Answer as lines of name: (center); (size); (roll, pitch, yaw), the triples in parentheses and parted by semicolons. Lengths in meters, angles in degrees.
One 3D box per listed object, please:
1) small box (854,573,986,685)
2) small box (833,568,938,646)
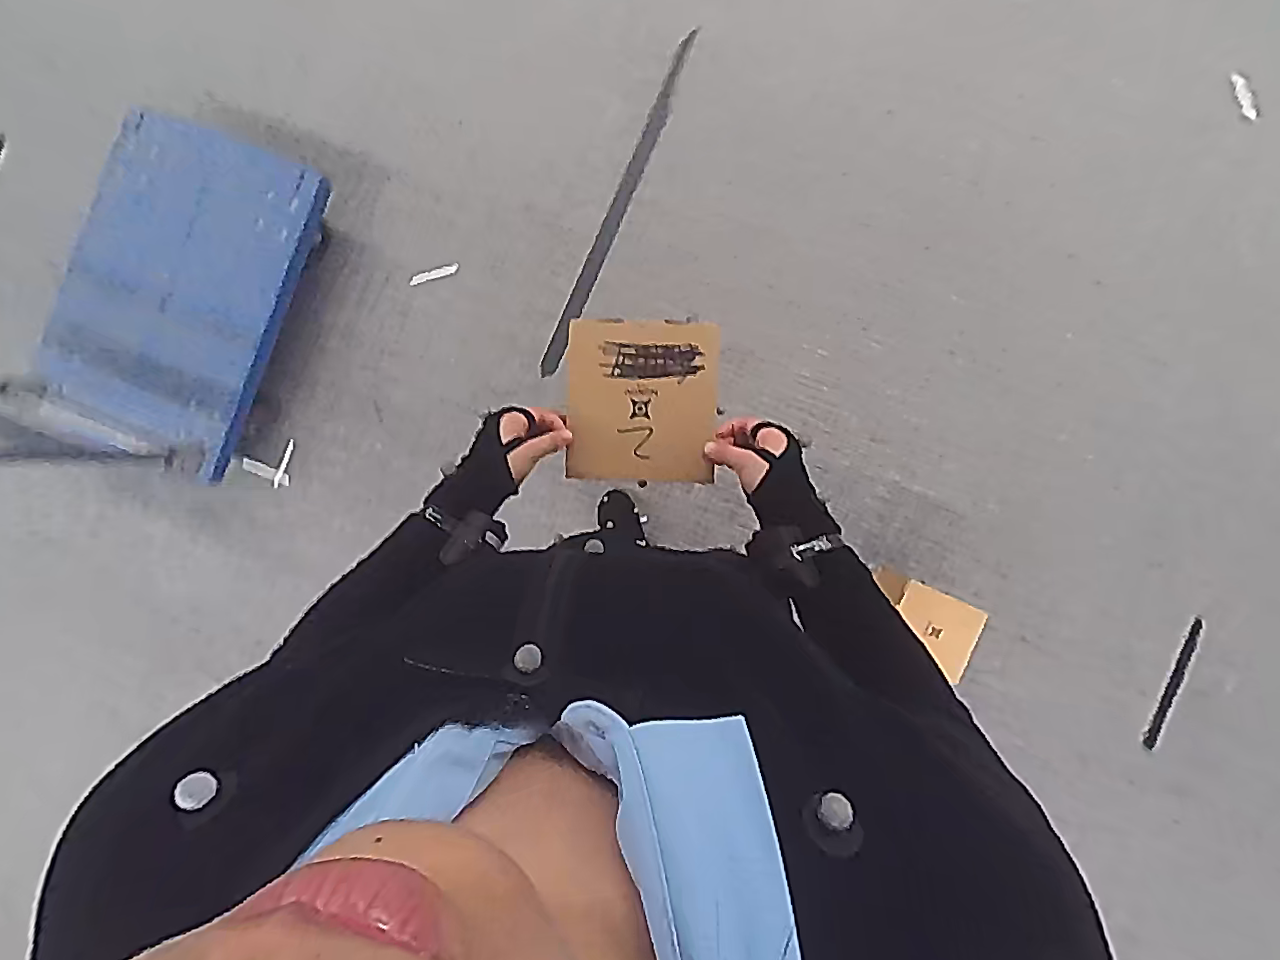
small box: (0.612, 0.320, 1.205); (0.179, 0.176, 0.168); (24, 91, 4)
small box: (0.613, 0.327, 1.368); (0.179, 0.176, 0.168); (12, 89, 4)
